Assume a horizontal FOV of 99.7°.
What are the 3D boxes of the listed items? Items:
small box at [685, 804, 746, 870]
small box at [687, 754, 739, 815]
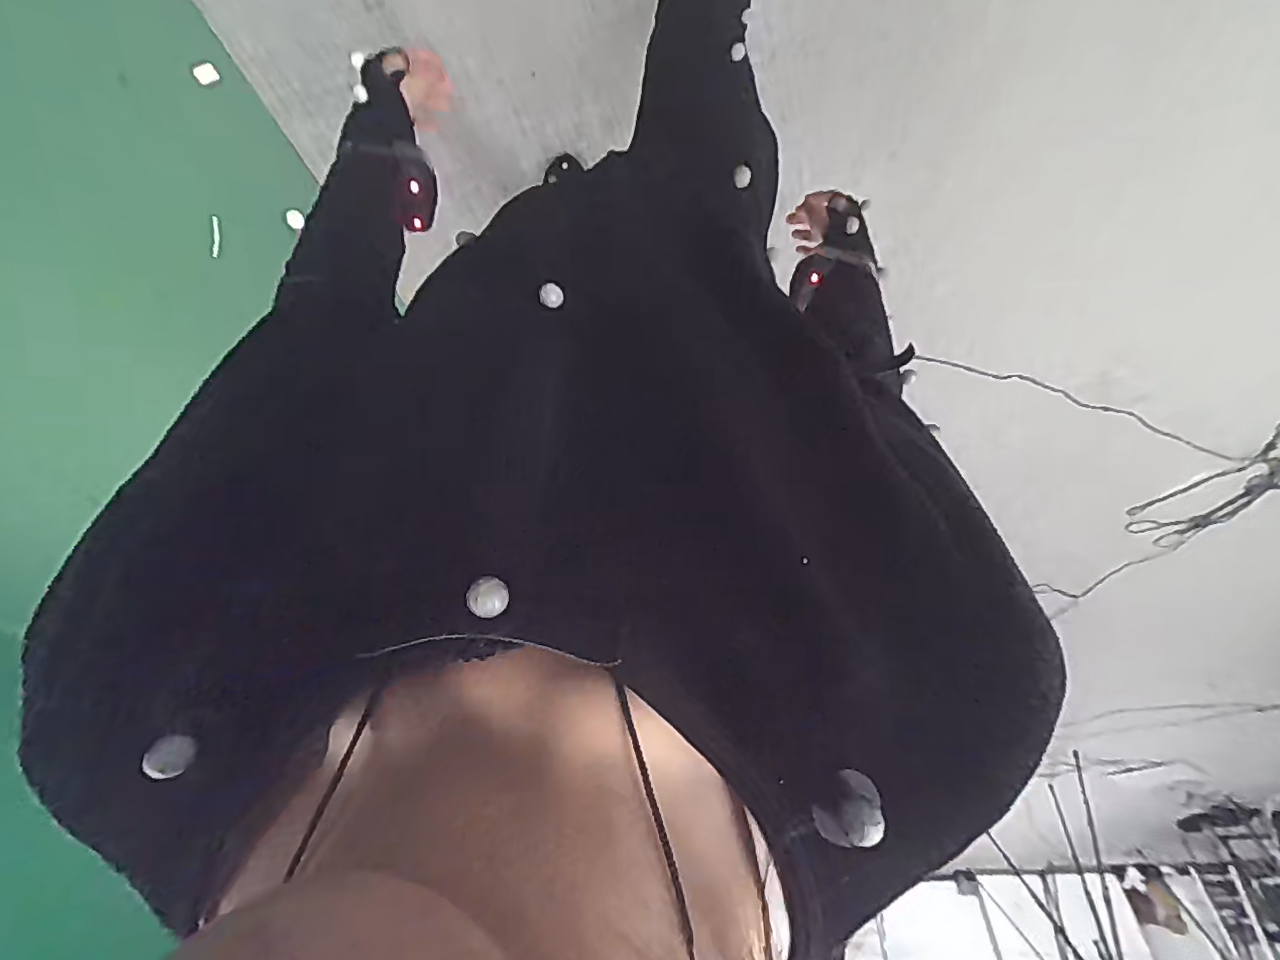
[{"bbox_3d":[0.257,1.222,1.851,0.179,0.176,0.168,-9,137,10],"label":"small box"},{"bbox_3d":[0.266,1.121,1.982,0.179,0.176,0.168,-6,138,6],"label":"small box"}]
